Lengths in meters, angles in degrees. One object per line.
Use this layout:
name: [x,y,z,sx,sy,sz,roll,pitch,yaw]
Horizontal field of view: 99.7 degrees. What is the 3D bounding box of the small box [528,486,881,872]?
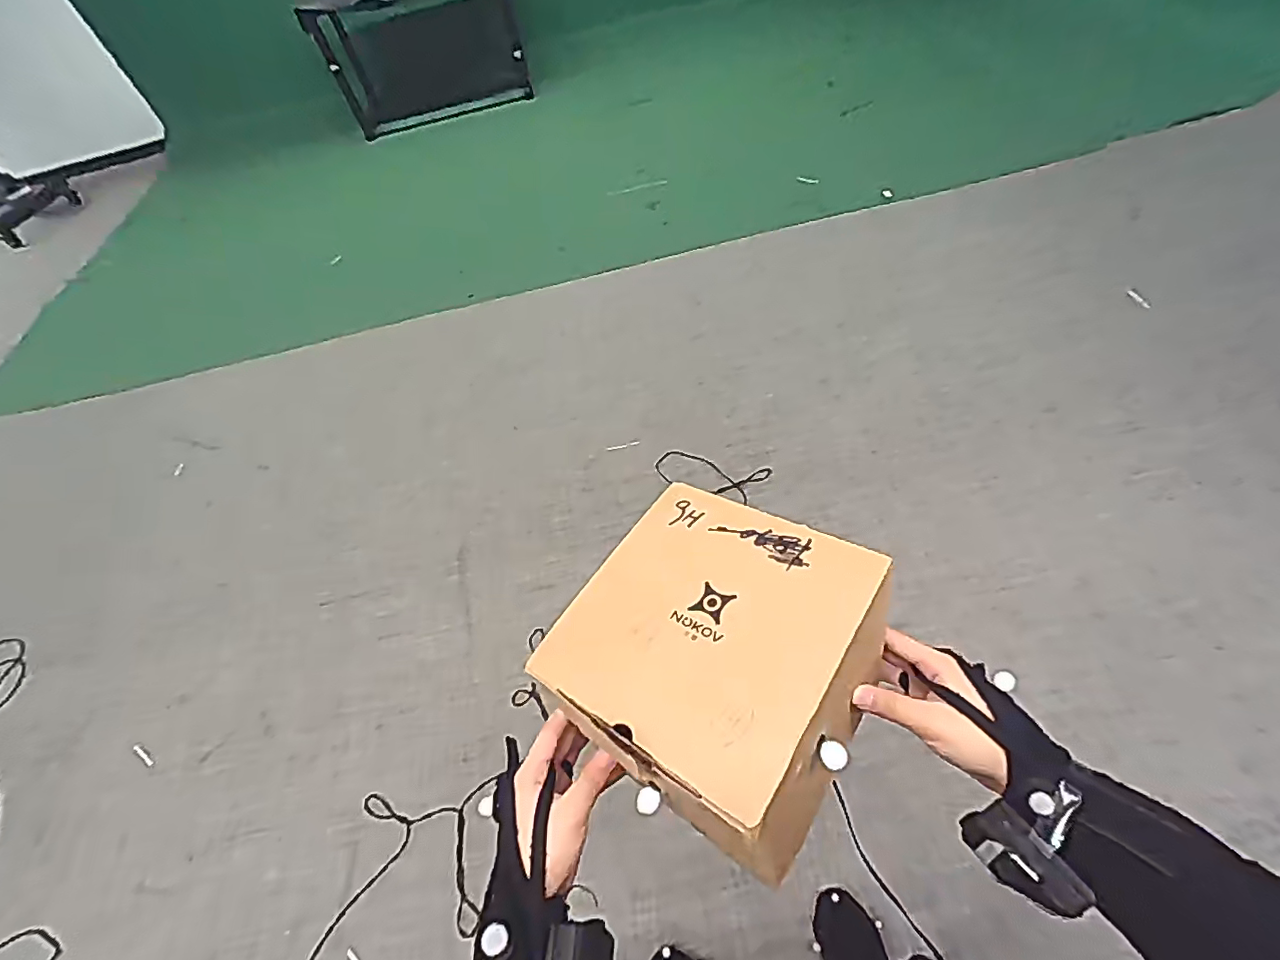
small box: [0.059,0.140,0.393,0.168,0.176,0.179,21,58,35]
